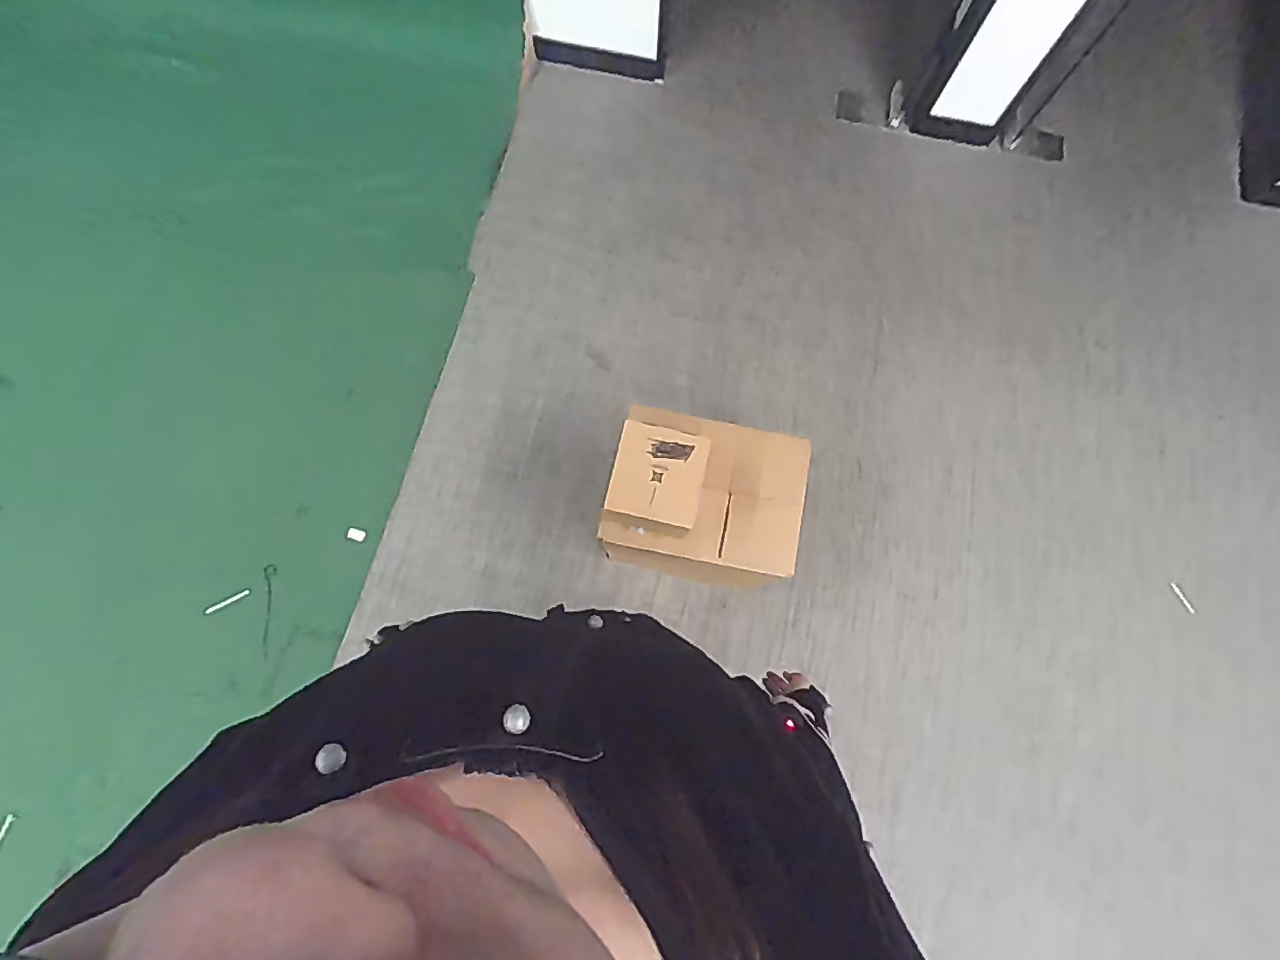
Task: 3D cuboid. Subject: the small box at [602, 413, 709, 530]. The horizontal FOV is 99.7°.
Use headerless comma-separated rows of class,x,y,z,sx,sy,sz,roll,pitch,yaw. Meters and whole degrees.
small box,0.025,-0.009,1.067,0.168,0.176,0.179,14,79,1
